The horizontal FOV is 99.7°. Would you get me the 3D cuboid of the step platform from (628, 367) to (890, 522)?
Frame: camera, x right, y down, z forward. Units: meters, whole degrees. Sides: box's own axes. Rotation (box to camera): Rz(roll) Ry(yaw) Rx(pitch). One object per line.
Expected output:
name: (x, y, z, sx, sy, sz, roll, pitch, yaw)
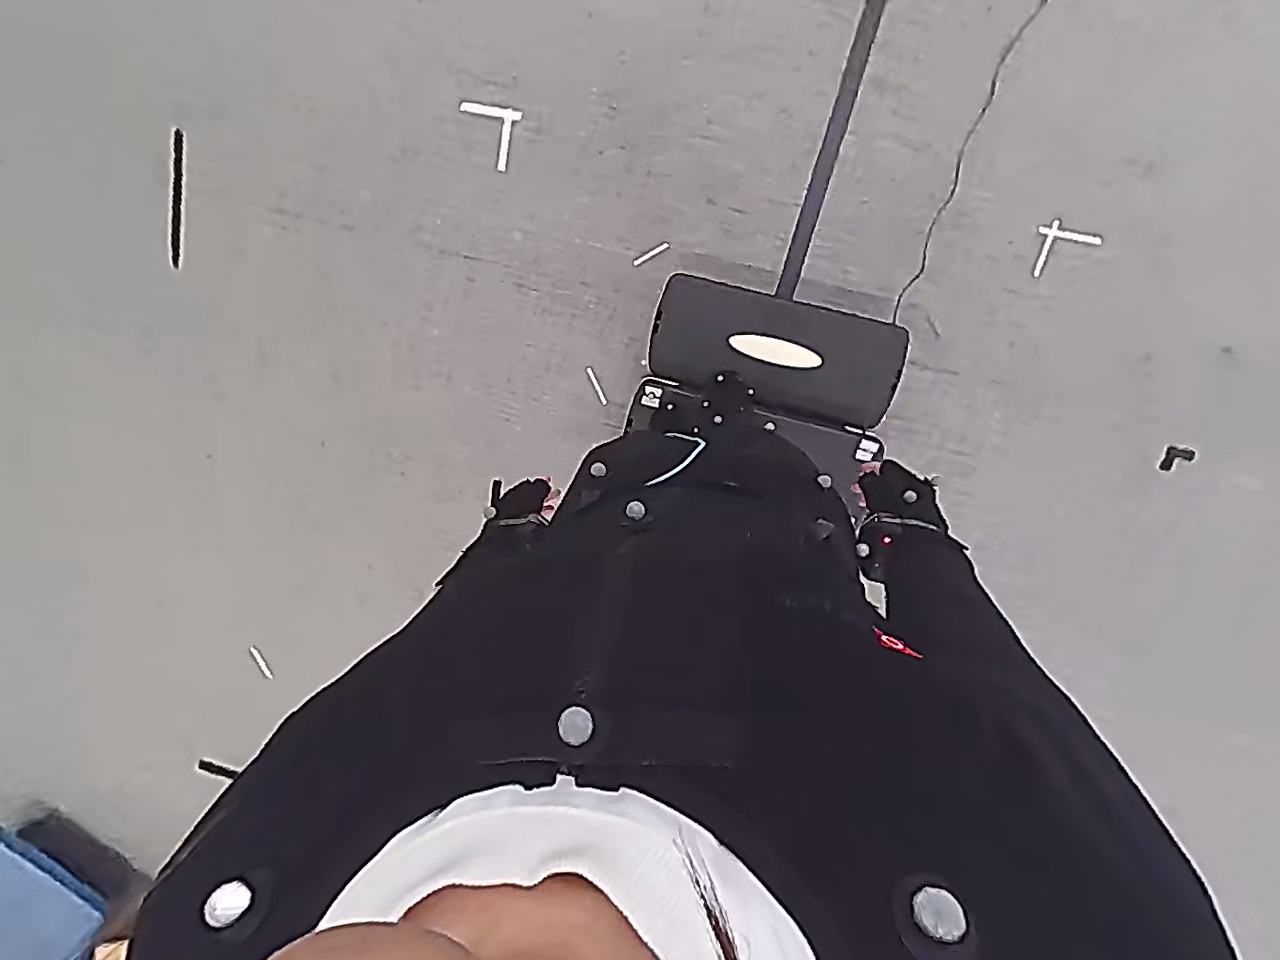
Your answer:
step platform: (0.311, -0.102, 1.489, 0.684, 0.204, 0.286, 14, 102, 5)
